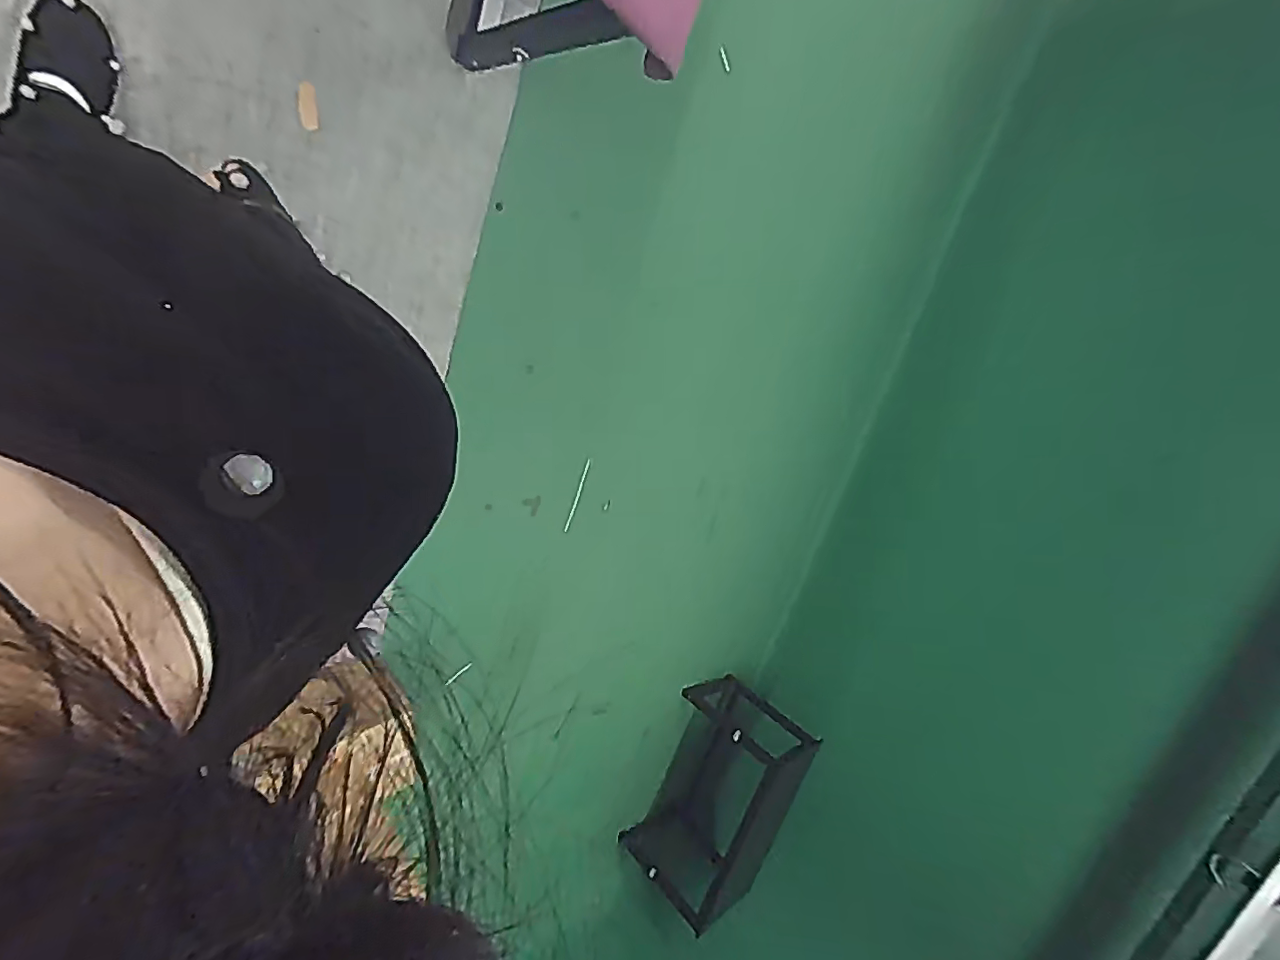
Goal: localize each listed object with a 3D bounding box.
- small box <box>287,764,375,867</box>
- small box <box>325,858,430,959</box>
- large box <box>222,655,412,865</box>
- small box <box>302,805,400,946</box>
[{"bbox_3d":[-0.804,0.878,1.409,0.168,0.176,0.179,-11,120,-42],"label":"small box"},{"bbox_3d":[-0.584,1.004,1.201,0.179,0.176,0.168,-11,120,-41],"label":"small box"},{"bbox_3d":[-0.940,0.794,1.598,0.408,0.320,0.320,-14,122,-43],"label":"large box"},{"bbox_3d":[-0.696,0.942,1.303,0.179,0.176,0.168,-13,121,-42],"label":"small box"}]
